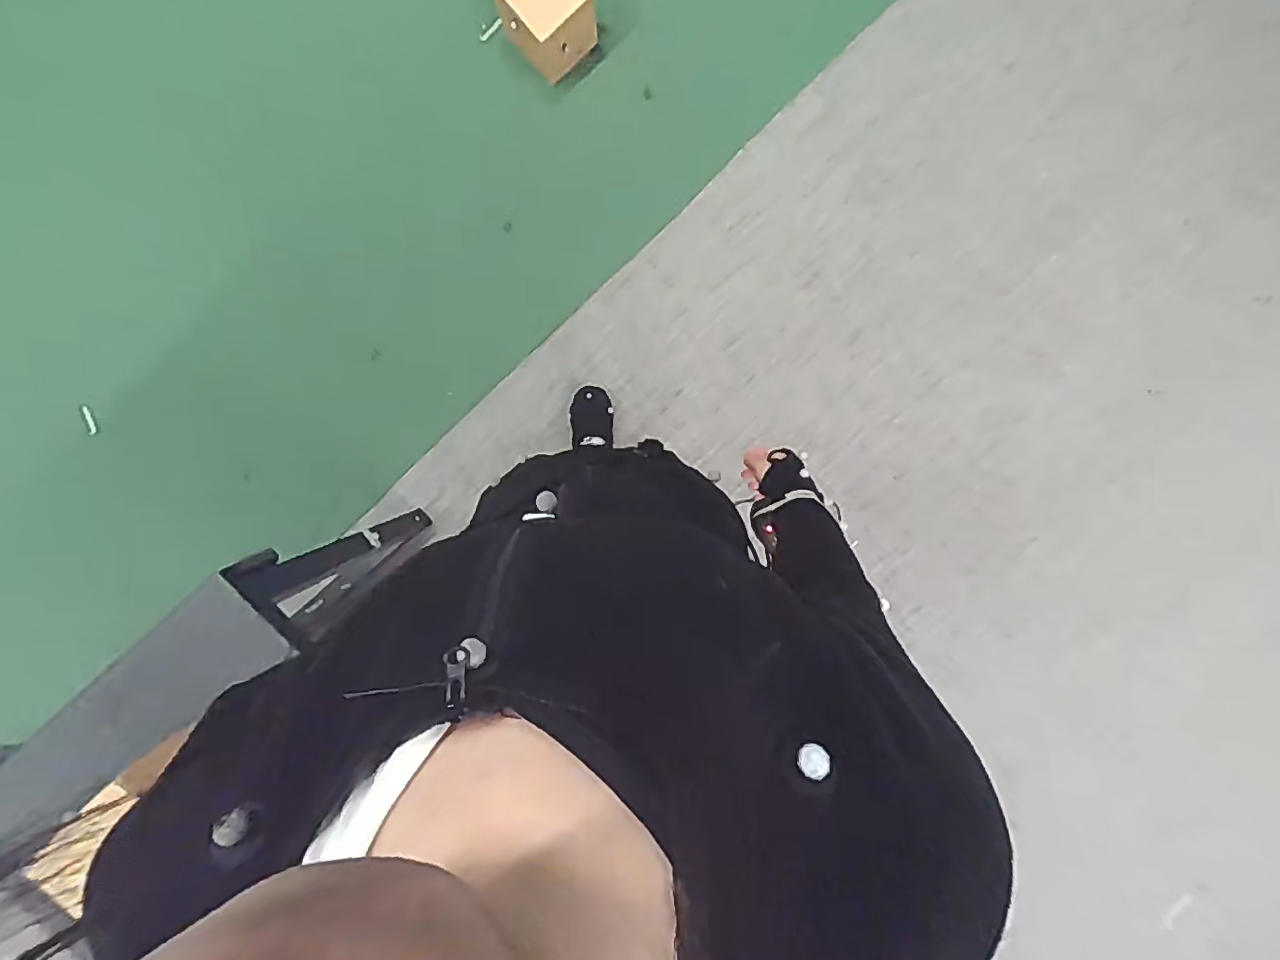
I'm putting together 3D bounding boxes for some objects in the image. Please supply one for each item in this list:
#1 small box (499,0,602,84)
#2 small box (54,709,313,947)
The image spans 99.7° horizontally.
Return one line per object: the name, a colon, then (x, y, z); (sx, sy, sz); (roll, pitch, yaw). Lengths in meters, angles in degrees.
small box: (-0.209, -1.116, 1.313); (0.168, 0.176, 0.179); (-42, 93, 5)
small box: (-0.608, 0.462, 0.747); (0.179, 0.176, 0.168); (-41, 93, 0)
